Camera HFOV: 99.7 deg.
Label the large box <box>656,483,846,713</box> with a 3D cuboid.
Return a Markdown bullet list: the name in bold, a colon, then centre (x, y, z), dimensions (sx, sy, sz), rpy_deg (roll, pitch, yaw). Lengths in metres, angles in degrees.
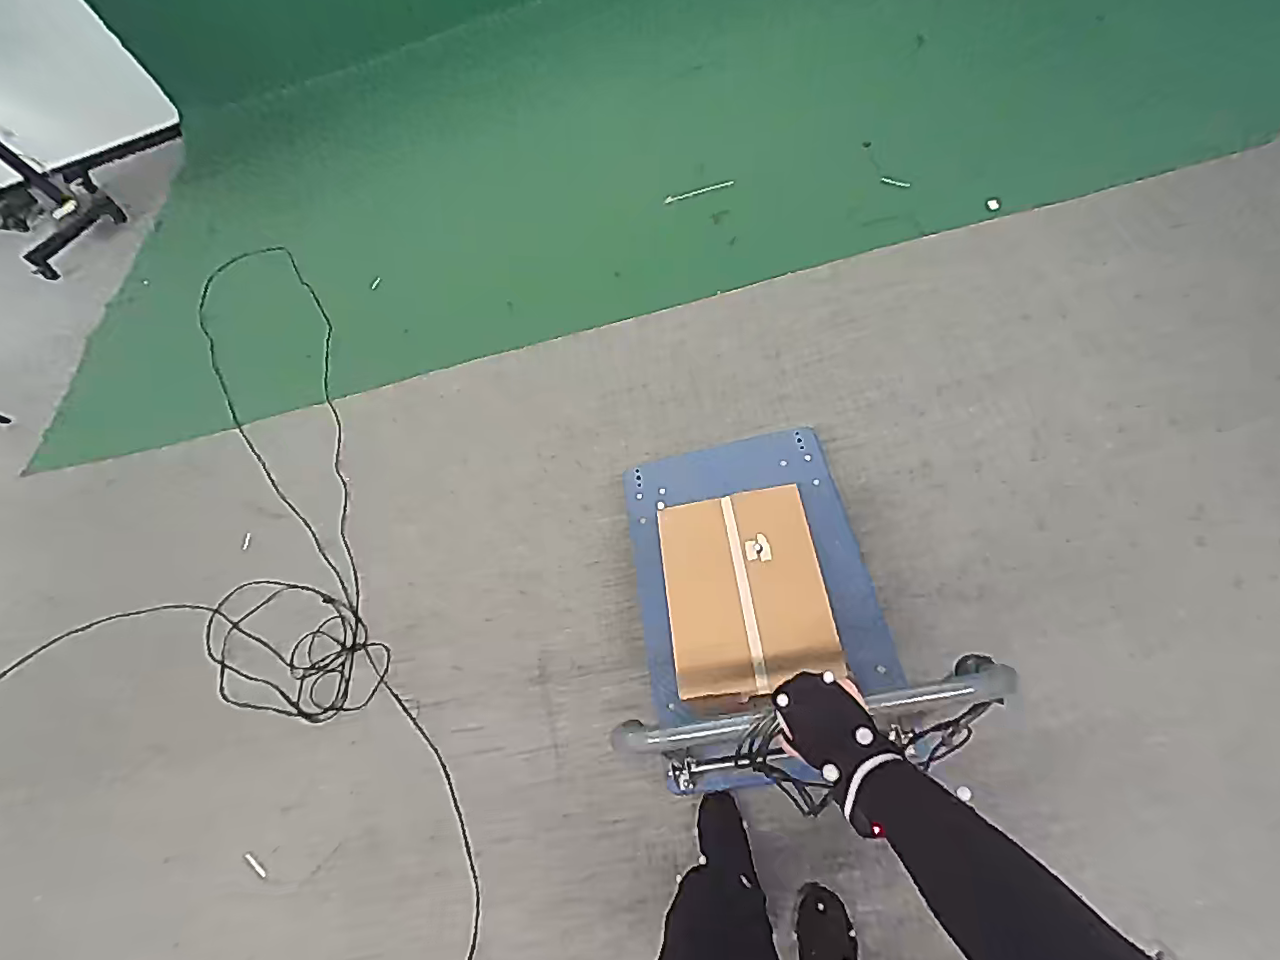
- **large box**: centre (0.235, 0.275, 1.212), dimensions (0.320, 0.320, 0.408), rpy_deg (-10, 59, 8)
